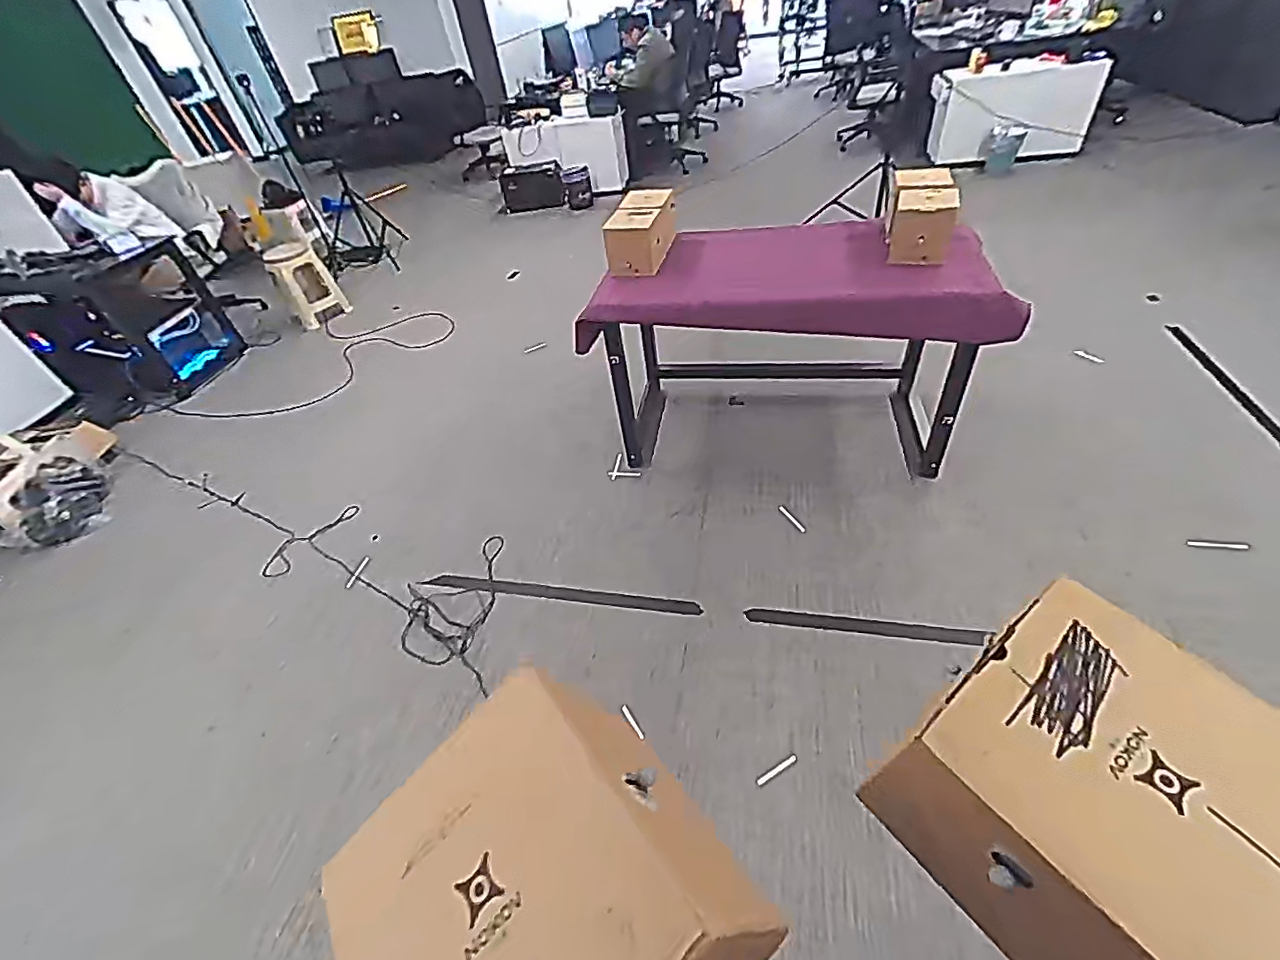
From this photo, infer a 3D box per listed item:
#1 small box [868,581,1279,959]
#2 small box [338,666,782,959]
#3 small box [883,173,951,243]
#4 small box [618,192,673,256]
[{"bbox_3d":[0.283,0.208,0.356,0.168,0.176,0.179,-34,55,-20],"label":"small box"},{"bbox_3d":[-0.039,0.255,0.331,0.168,0.176,0.179,-44,45,-11],"label":"small box"},{"bbox_3d":[0.921,-0.912,1.815,0.168,0.176,0.179,6,45,15],"label":"small box"},{"bbox_3d":[0.027,-0.957,2.022,0.168,0.176,0.179,6,46,16],"label":"small box"}]
